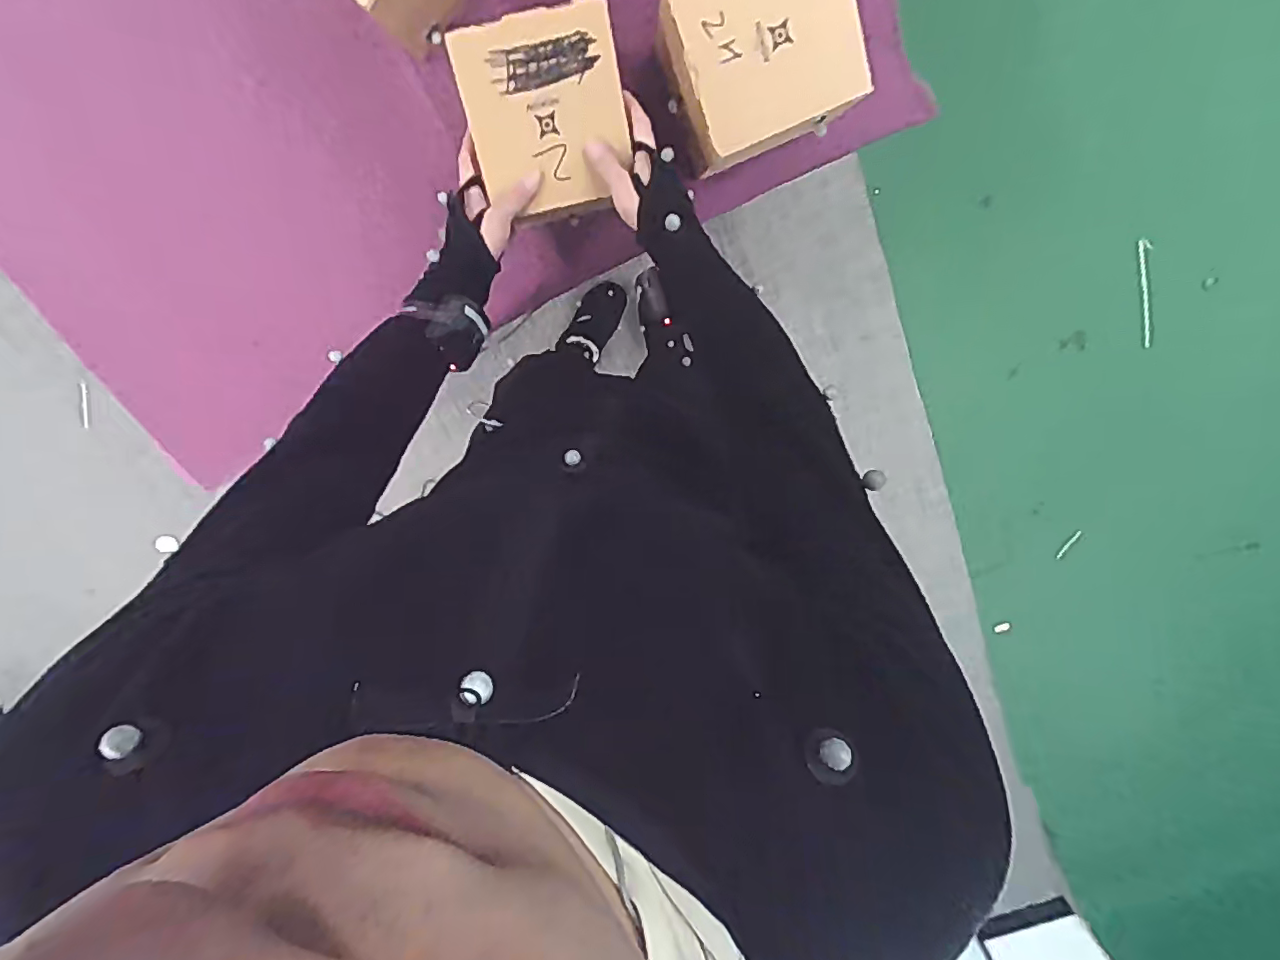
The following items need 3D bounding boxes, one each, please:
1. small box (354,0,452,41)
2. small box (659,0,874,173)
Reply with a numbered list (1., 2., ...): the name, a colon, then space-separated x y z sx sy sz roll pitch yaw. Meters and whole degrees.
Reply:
1. small box: -0.270 -0.594 0.544 0.168 0.176 0.179 -43 109 16
2. small box: 0.130 -0.471 0.607 0.179 0.176 0.168 -20 112 8
